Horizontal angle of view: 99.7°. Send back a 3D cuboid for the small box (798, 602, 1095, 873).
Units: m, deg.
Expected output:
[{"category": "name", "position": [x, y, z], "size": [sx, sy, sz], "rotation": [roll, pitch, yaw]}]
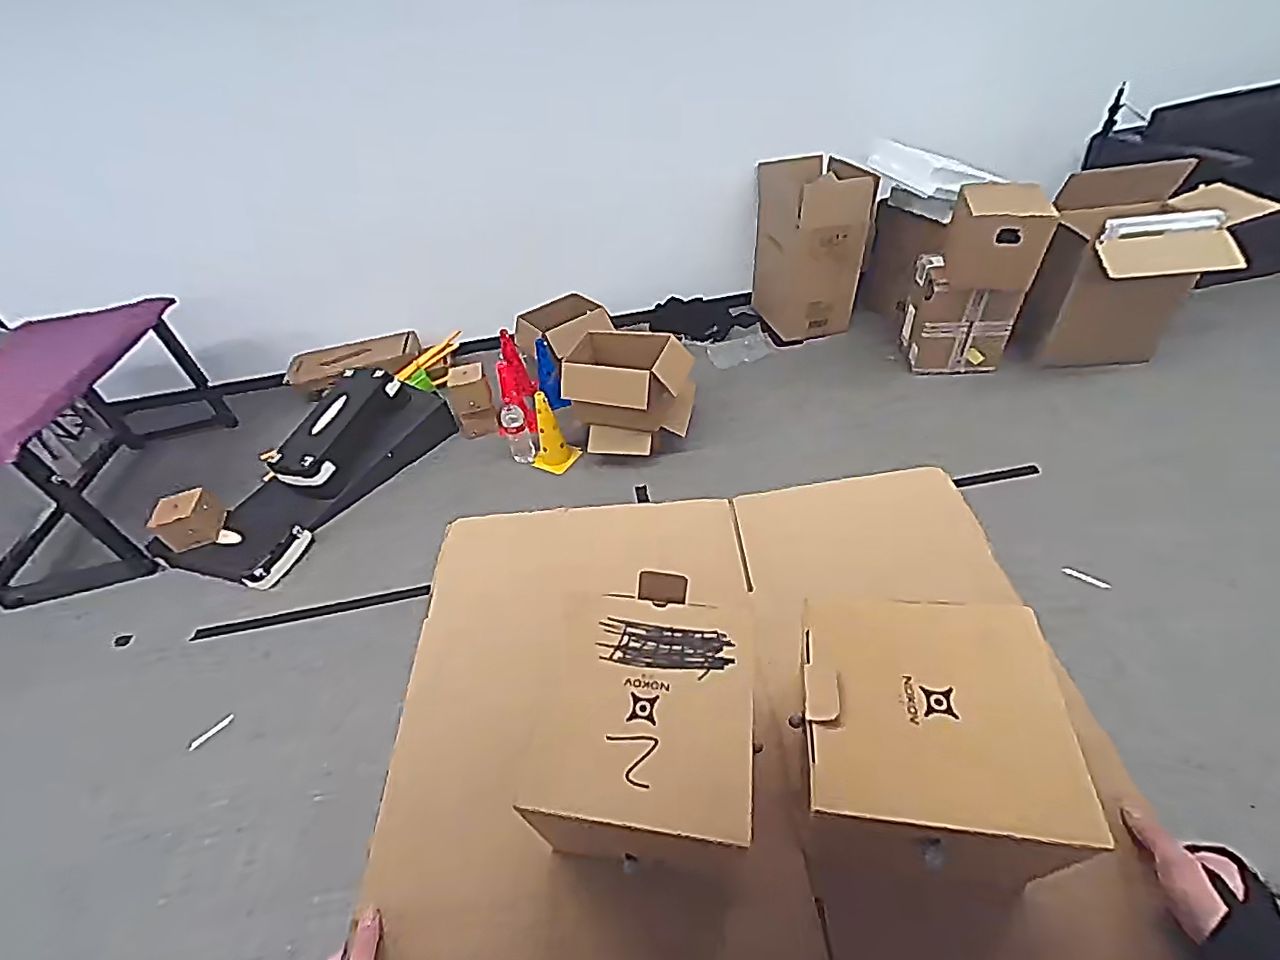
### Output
[{"category": "small box", "position": [0.232, 0.223, 0.468], "size": [0.179, 0.176, 0.168], "rotation": [-1, 48, 15]}]
